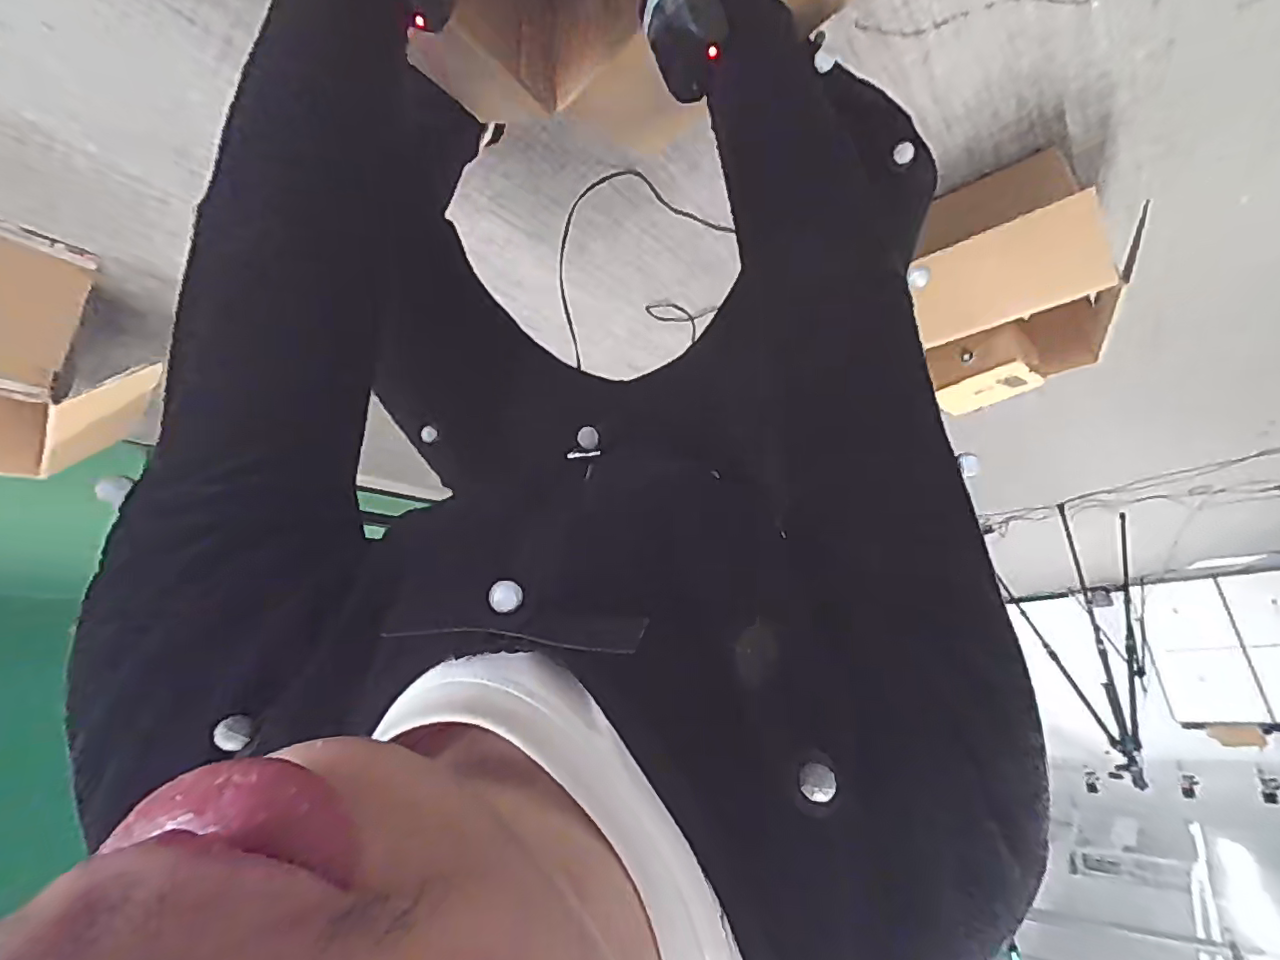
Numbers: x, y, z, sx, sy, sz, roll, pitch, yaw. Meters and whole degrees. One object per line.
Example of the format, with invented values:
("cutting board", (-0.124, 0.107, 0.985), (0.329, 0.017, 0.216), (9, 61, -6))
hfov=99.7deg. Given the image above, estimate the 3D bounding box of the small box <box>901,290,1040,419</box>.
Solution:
("small box", (0.660, -0.249, 1.091), (0.168, 0.176, 0.179), (15, 152, -40))
